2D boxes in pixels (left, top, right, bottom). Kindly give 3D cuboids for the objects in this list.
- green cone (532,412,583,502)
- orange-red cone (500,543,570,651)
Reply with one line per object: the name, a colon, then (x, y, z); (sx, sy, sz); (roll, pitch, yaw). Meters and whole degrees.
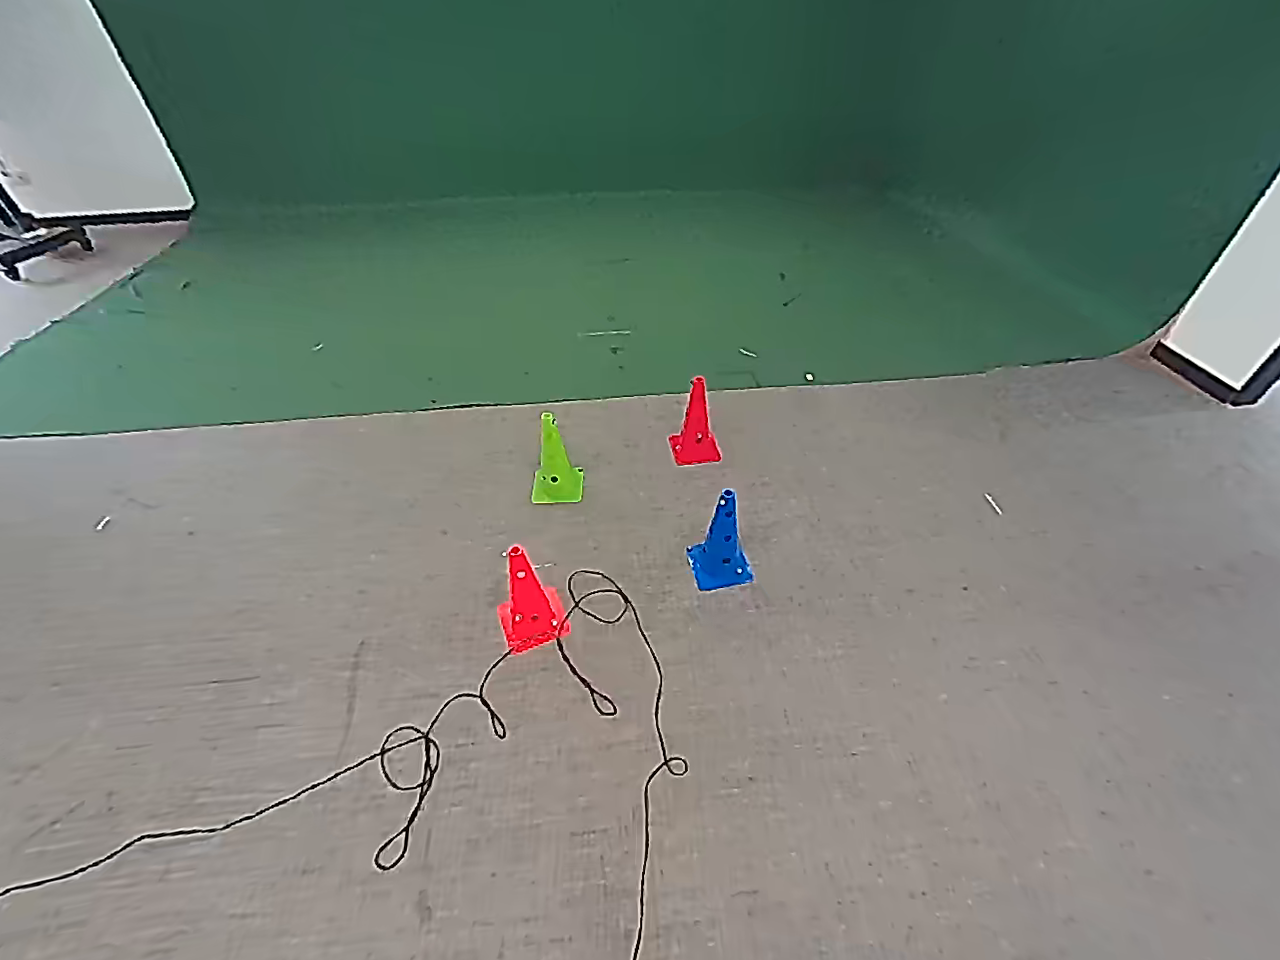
green cone: (-0.338, -0.110, 2.084); (0.200, 0.368, 0.202); (-3, 44, -1)
orange-red cone: (-0.343, 0.319, 1.634); (0.198, 0.360, 0.199); (-17, 44, -17)
